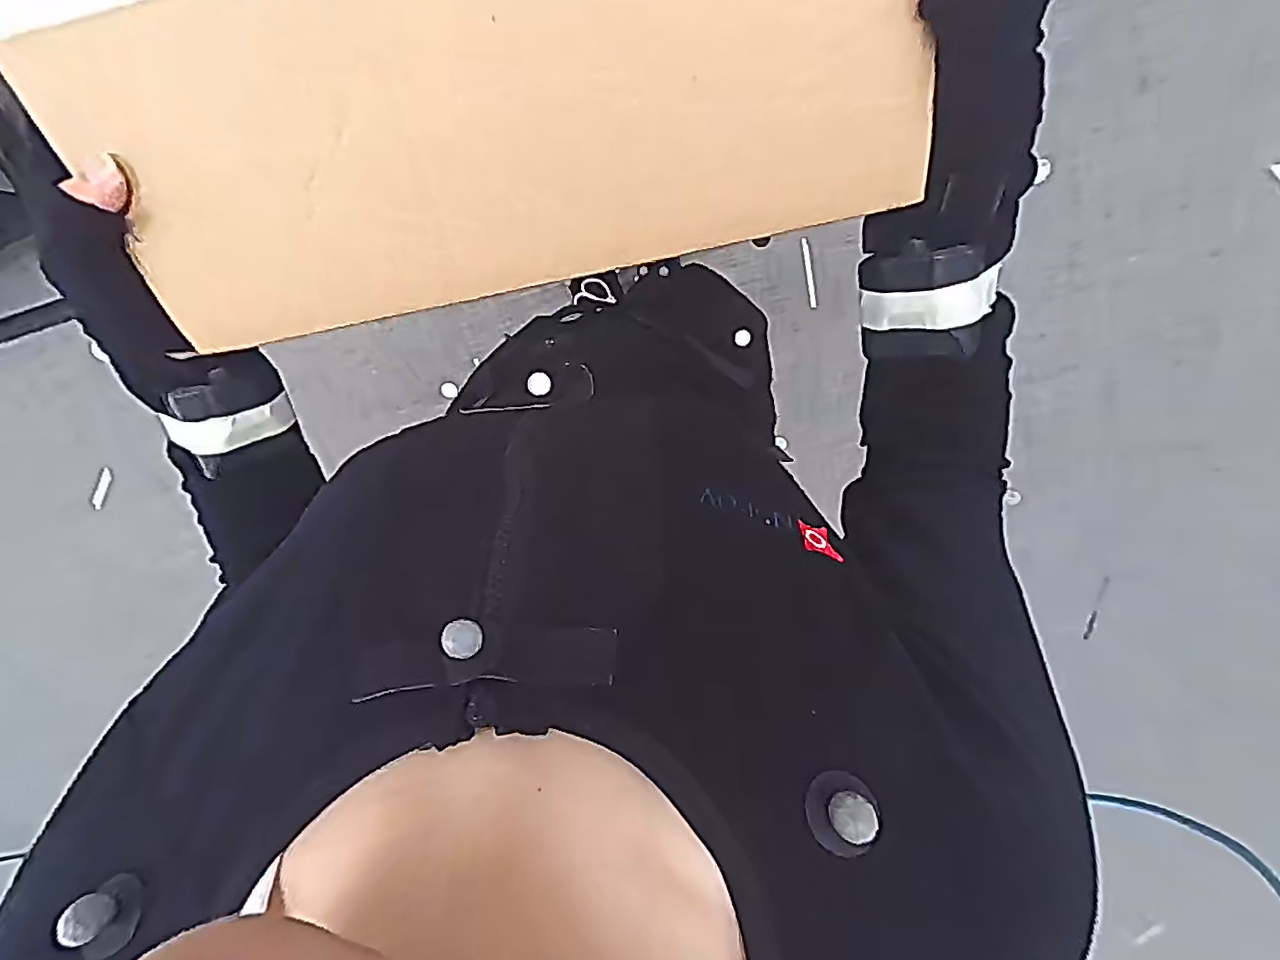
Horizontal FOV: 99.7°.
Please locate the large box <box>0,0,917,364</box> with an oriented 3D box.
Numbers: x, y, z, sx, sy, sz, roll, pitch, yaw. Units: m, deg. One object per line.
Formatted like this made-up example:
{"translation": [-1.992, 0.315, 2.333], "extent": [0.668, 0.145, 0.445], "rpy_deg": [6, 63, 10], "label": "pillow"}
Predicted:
{"translation": [-0.086, -0.312, 0.344], "extent": [0.408, 0.320, 0.320], "rpy_deg": [-10, 123, 6], "label": "large box"}
